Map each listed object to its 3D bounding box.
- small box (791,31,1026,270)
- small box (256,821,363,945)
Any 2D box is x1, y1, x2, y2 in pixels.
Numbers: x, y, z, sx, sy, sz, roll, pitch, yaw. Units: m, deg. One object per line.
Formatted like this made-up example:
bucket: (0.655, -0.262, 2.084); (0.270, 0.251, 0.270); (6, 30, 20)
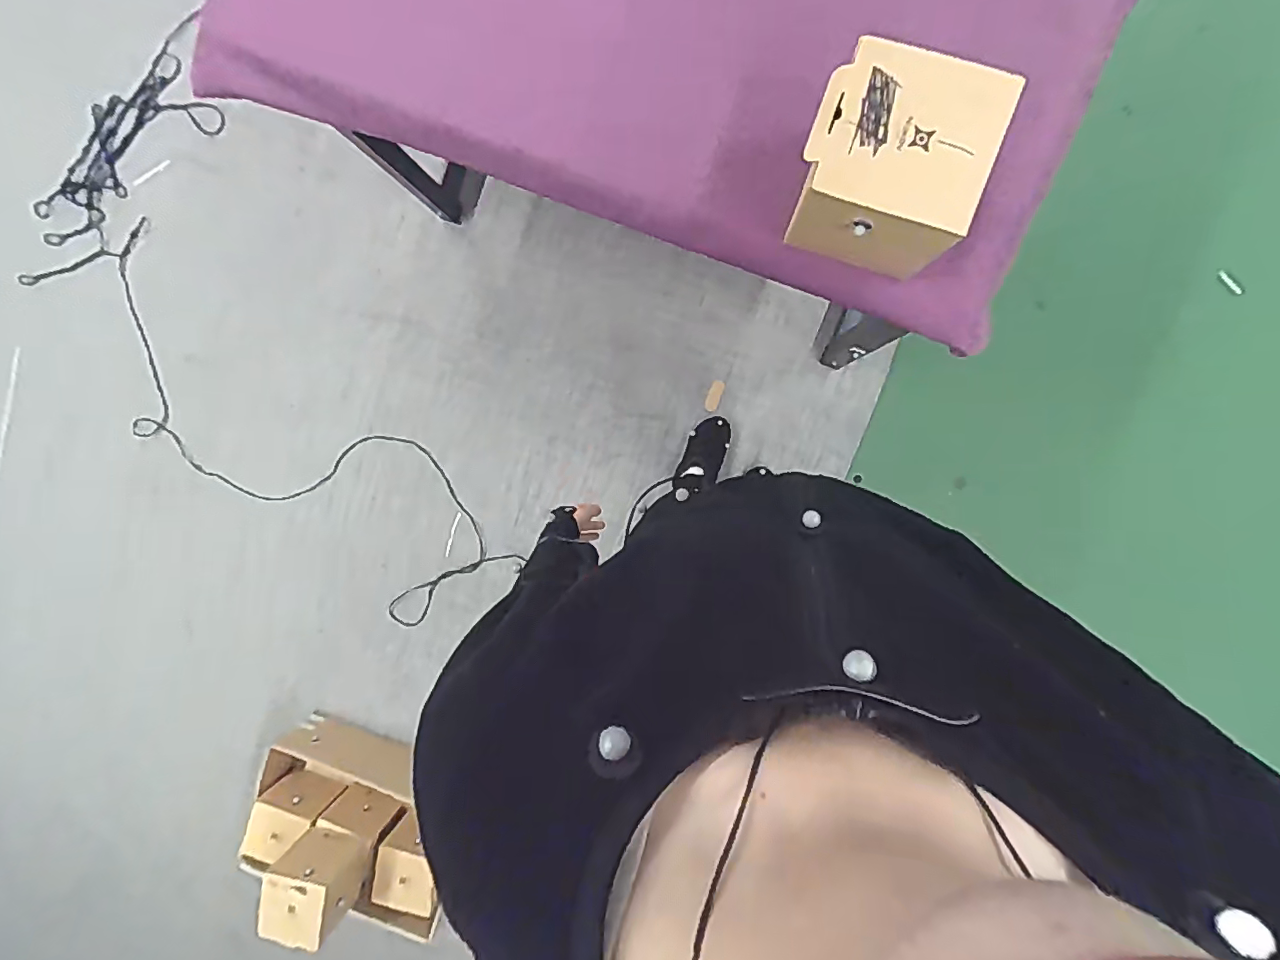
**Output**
small box: (0.298, -0.374, 0.648); (0.179, 0.176, 0.168); (20, 97, 4)
small box: (-0.851, 1.038, 1.405); (0.168, 0.176, 0.179); (10, 95, 5)
